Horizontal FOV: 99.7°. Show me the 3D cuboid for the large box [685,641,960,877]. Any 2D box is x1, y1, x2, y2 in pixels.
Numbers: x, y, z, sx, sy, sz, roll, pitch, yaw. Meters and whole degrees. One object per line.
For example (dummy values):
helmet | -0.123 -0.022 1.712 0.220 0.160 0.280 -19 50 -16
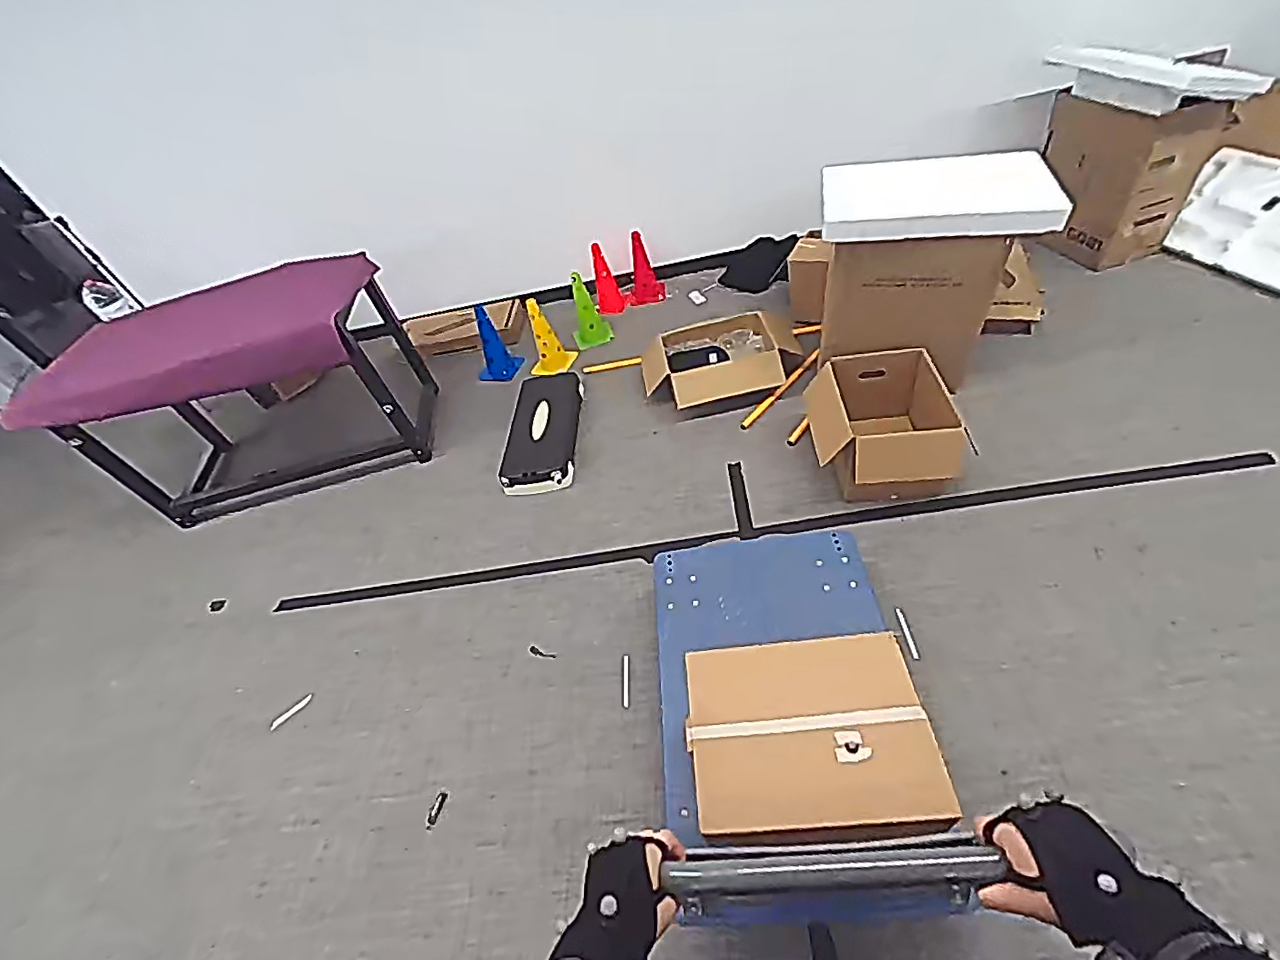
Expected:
large box | 0.312 0.545 1.047 0.408 0.320 0.320 -8 46 6
